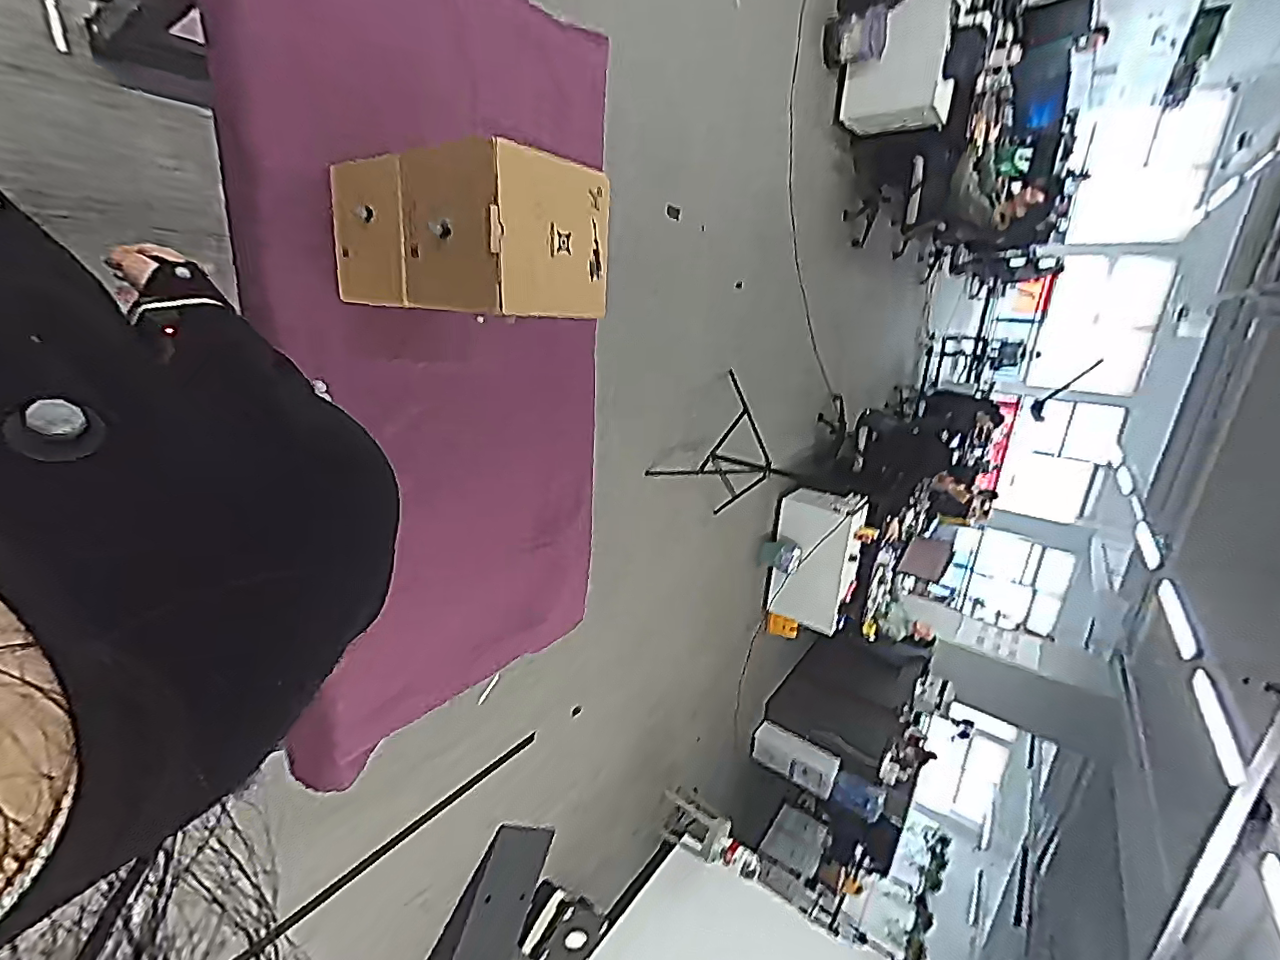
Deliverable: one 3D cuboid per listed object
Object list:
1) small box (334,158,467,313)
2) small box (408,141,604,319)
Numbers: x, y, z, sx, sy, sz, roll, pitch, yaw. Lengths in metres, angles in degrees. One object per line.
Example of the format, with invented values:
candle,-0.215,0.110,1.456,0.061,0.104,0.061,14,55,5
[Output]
small box,-0.300,-0.322,0.747,0.179,0.176,0.168,-18,118,-52
small box,-0.165,-0.288,0.660,0.179,0.176,0.168,-19,119,-51
